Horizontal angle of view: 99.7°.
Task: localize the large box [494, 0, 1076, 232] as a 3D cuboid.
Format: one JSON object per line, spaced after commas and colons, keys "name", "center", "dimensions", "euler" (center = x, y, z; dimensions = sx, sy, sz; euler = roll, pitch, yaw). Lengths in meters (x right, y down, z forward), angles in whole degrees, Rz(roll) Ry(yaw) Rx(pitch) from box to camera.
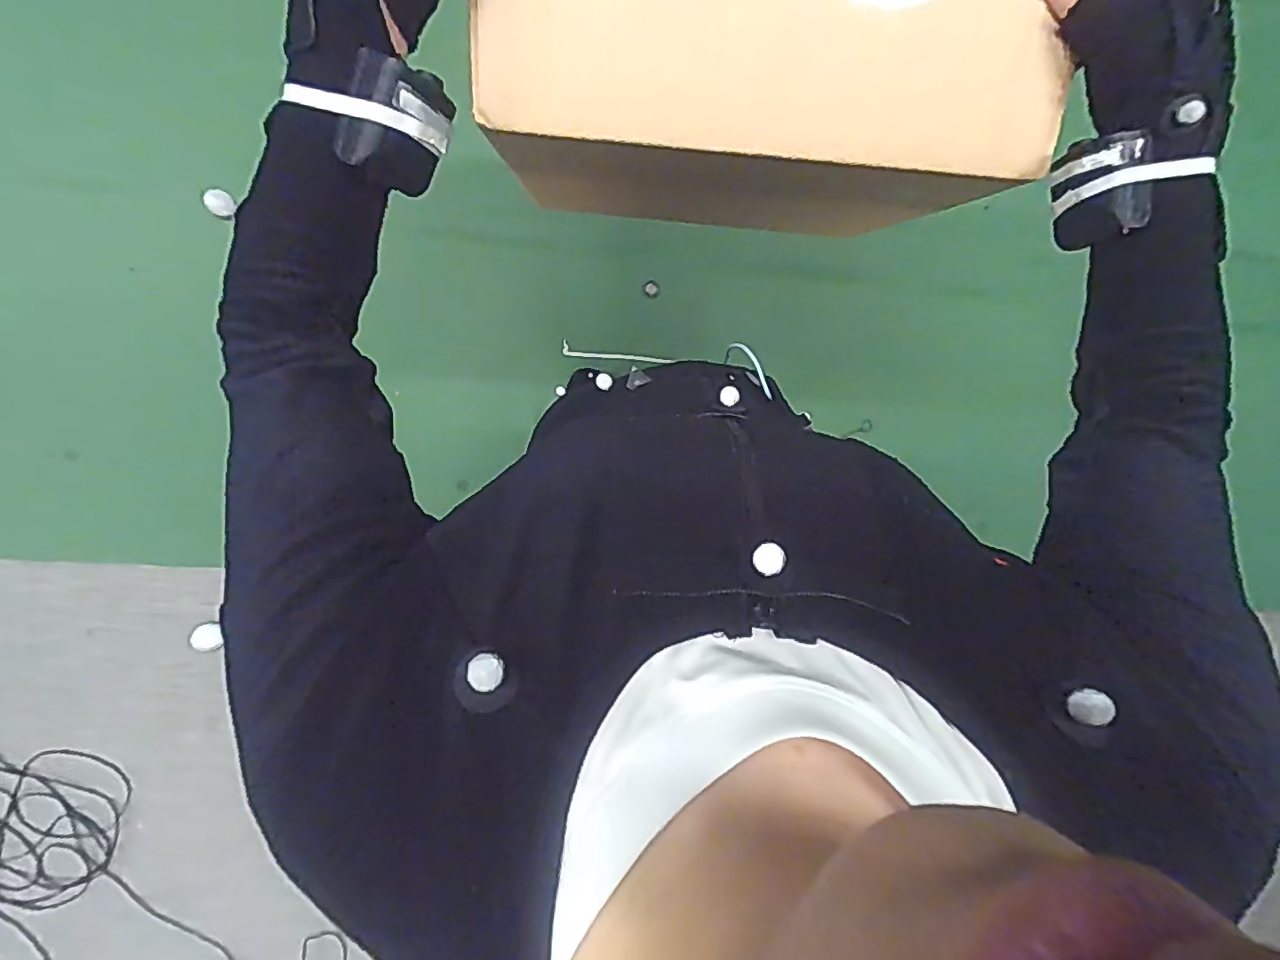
{"name": "large box", "center": [0.095, -0.424, 0.487], "dimensions": [0.408, 0.320, 0.320], "euler": [3, 107, -5]}
